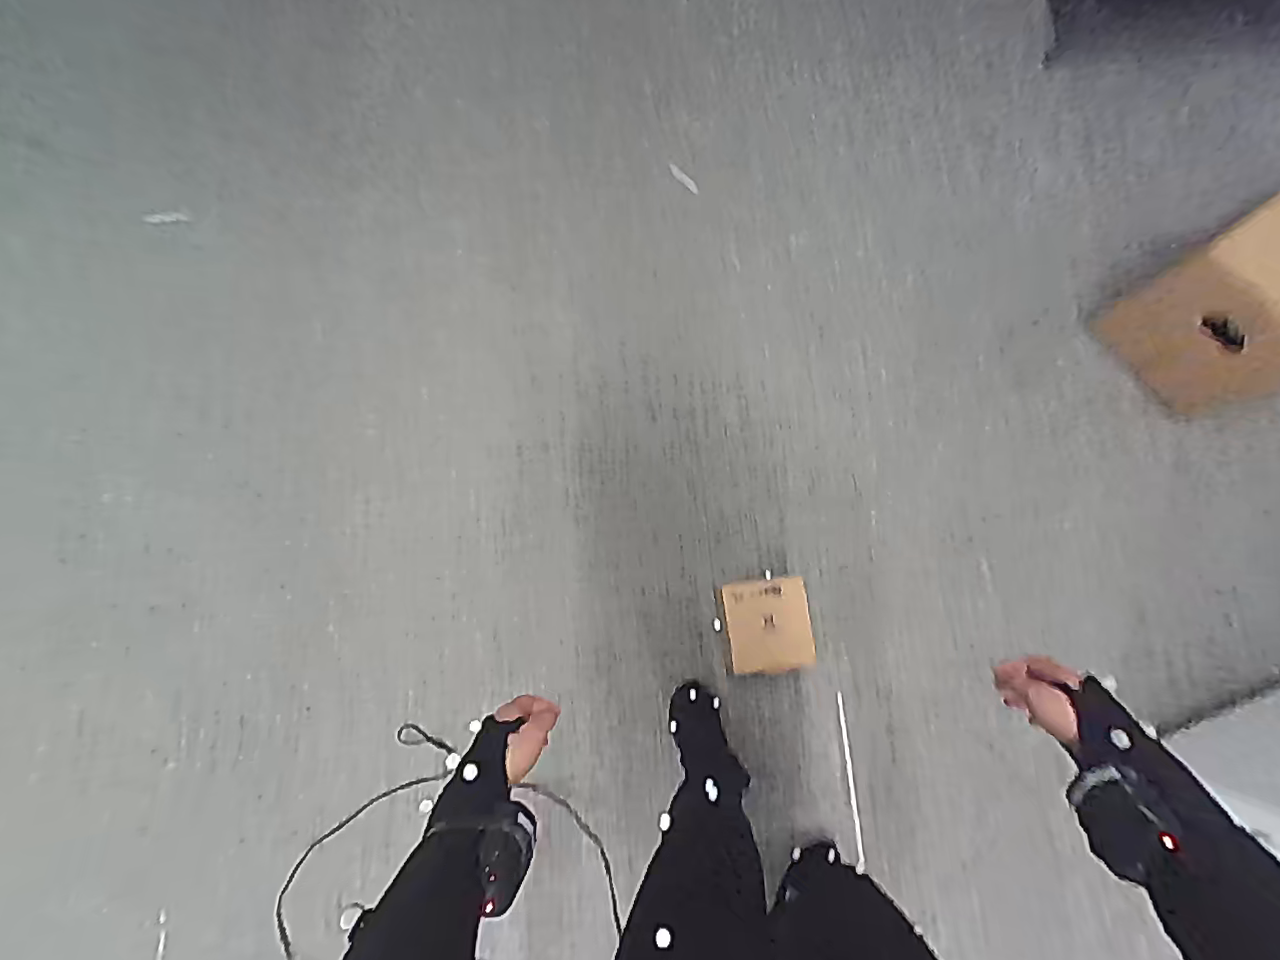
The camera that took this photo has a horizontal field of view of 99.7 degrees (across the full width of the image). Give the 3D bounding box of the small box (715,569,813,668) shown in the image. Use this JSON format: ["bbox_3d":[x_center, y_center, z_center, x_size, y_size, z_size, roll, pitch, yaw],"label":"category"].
[{"bbox_3d":[0.257,0.289,1.156,0.168,0.176,0.179,-7,81,2],"label":"small box"}]
